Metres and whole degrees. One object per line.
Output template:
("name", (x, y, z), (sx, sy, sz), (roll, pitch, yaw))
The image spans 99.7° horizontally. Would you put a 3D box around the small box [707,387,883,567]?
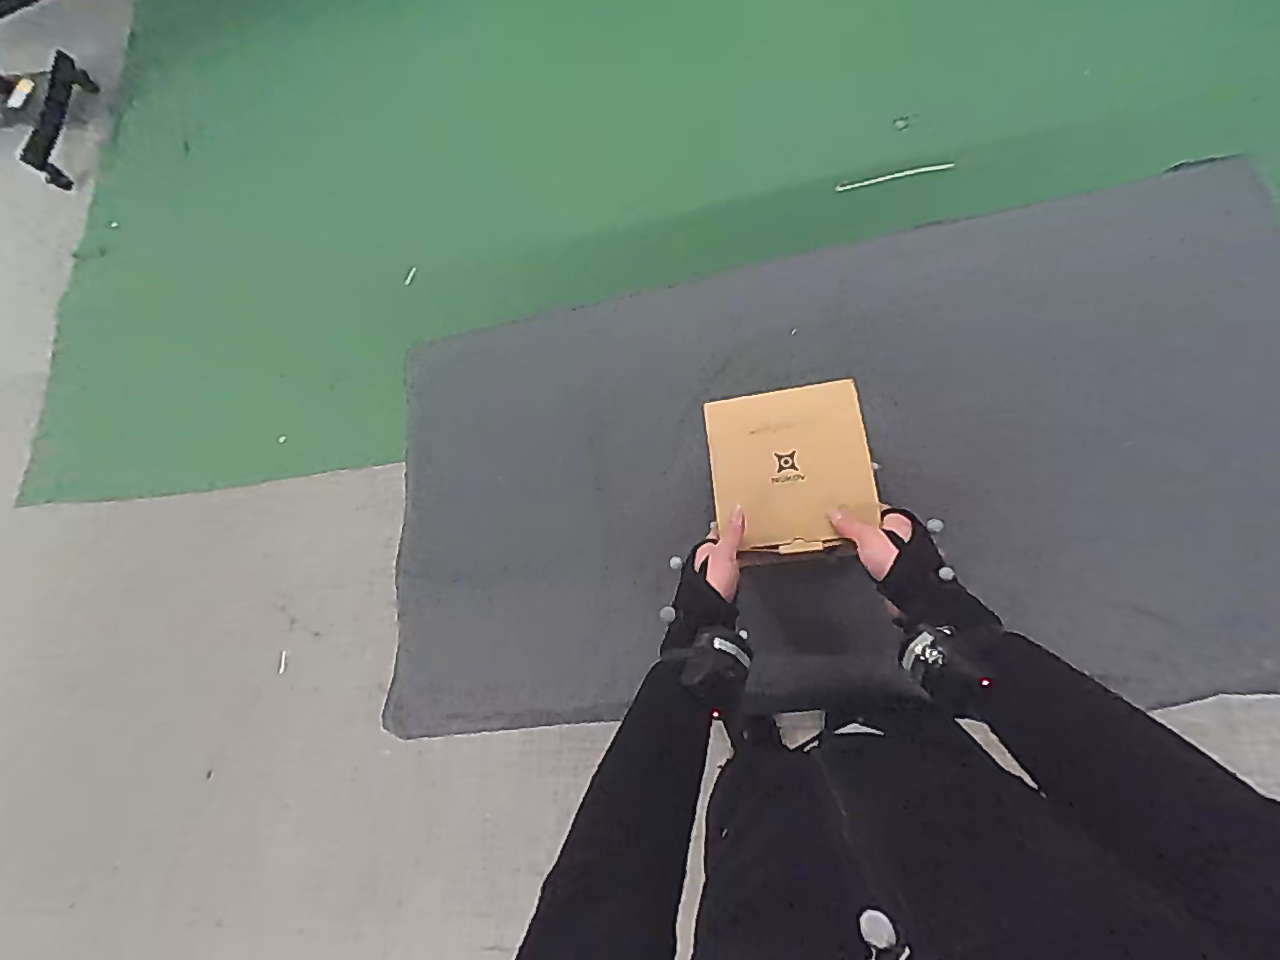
("small box", (0.181, 0.010, 0.661), (0.168, 0.176, 0.179), (-8, 74, 11))
